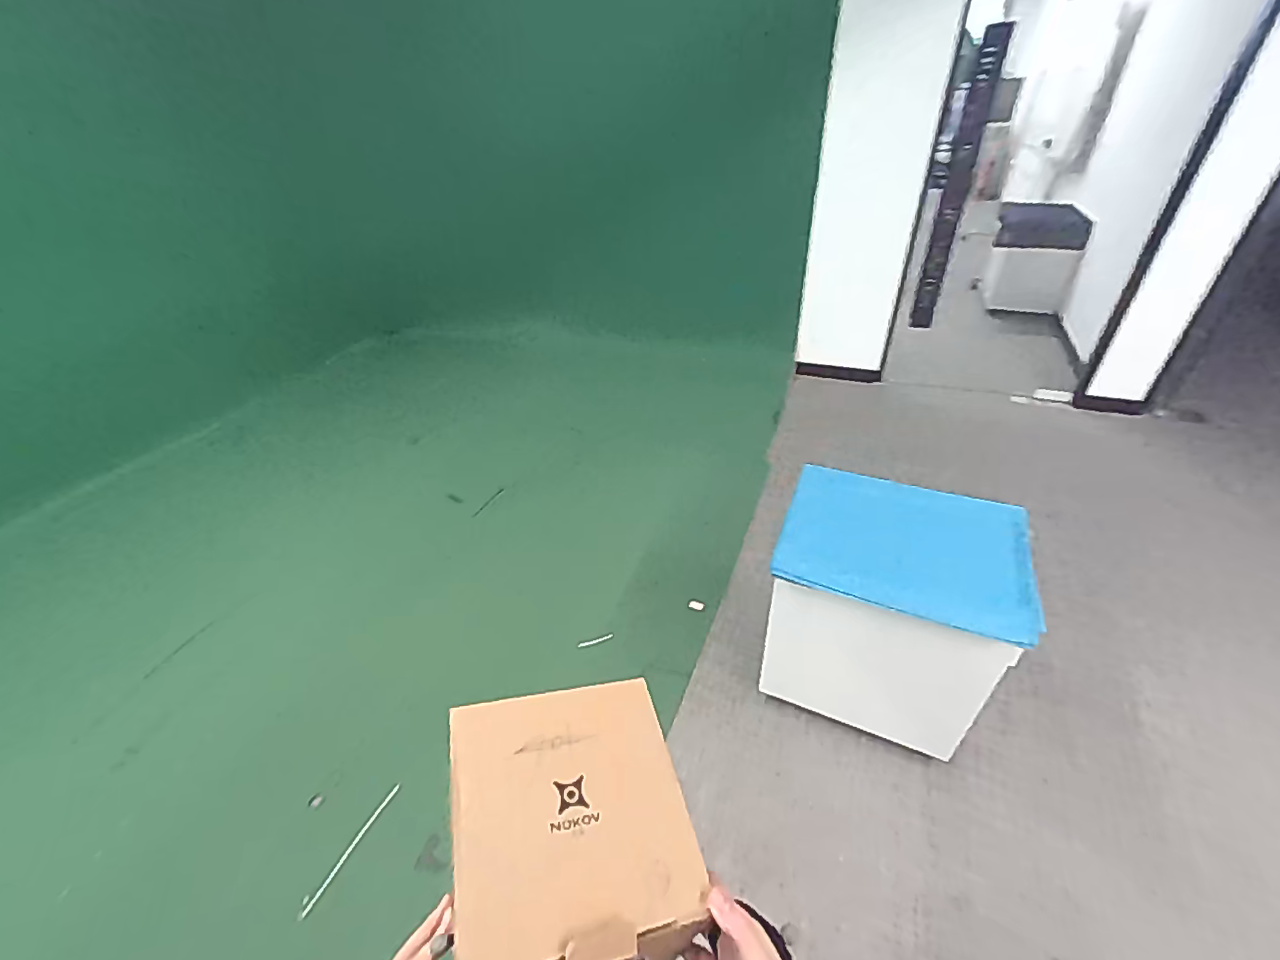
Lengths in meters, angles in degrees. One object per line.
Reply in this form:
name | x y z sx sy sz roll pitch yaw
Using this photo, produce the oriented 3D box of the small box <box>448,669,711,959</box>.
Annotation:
small box | -0.065 0.282 0.434 0.168 0.176 0.179 0 38 -19
